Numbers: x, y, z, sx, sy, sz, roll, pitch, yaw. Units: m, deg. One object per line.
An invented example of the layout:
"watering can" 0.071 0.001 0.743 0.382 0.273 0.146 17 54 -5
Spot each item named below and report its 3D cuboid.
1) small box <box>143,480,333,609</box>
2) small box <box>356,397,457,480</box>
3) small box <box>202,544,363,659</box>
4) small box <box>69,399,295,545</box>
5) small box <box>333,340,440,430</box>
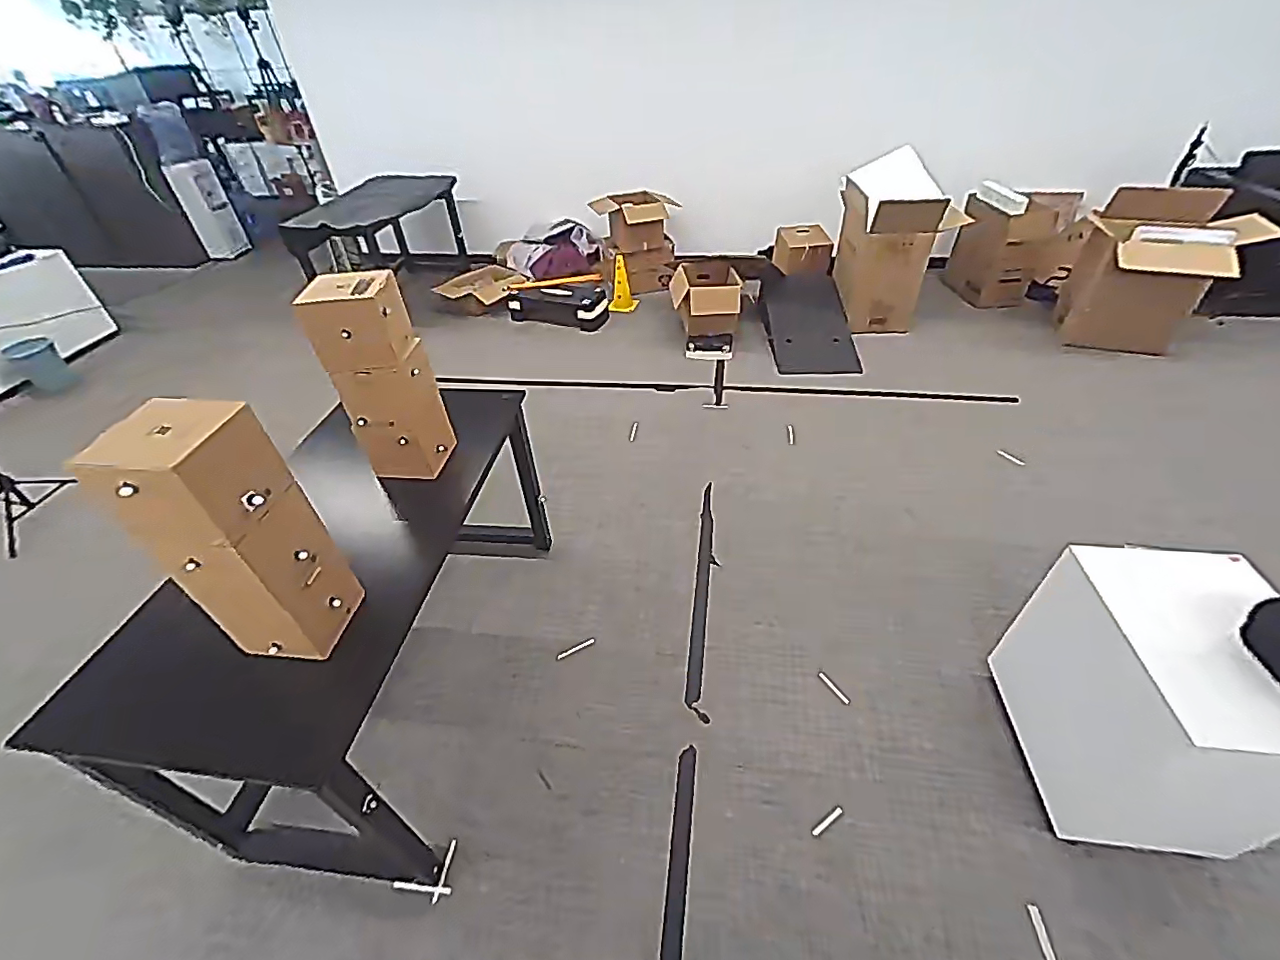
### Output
"small box" -0.697 0.112 0.962 0.179 0.176 0.168 3 42 6
"small box" -0.626 -0.113 1.472 0.179 0.176 0.168 3 41 6
"small box" -0.688 0.237 1.069 0.179 0.176 0.168 2 41 6
"small box" -0.702 -0.012 0.856 0.179 0.176 0.168 3 42 6
"small box" -0.626 -0.237 1.363 0.168 0.176 0.179 0 40 4
